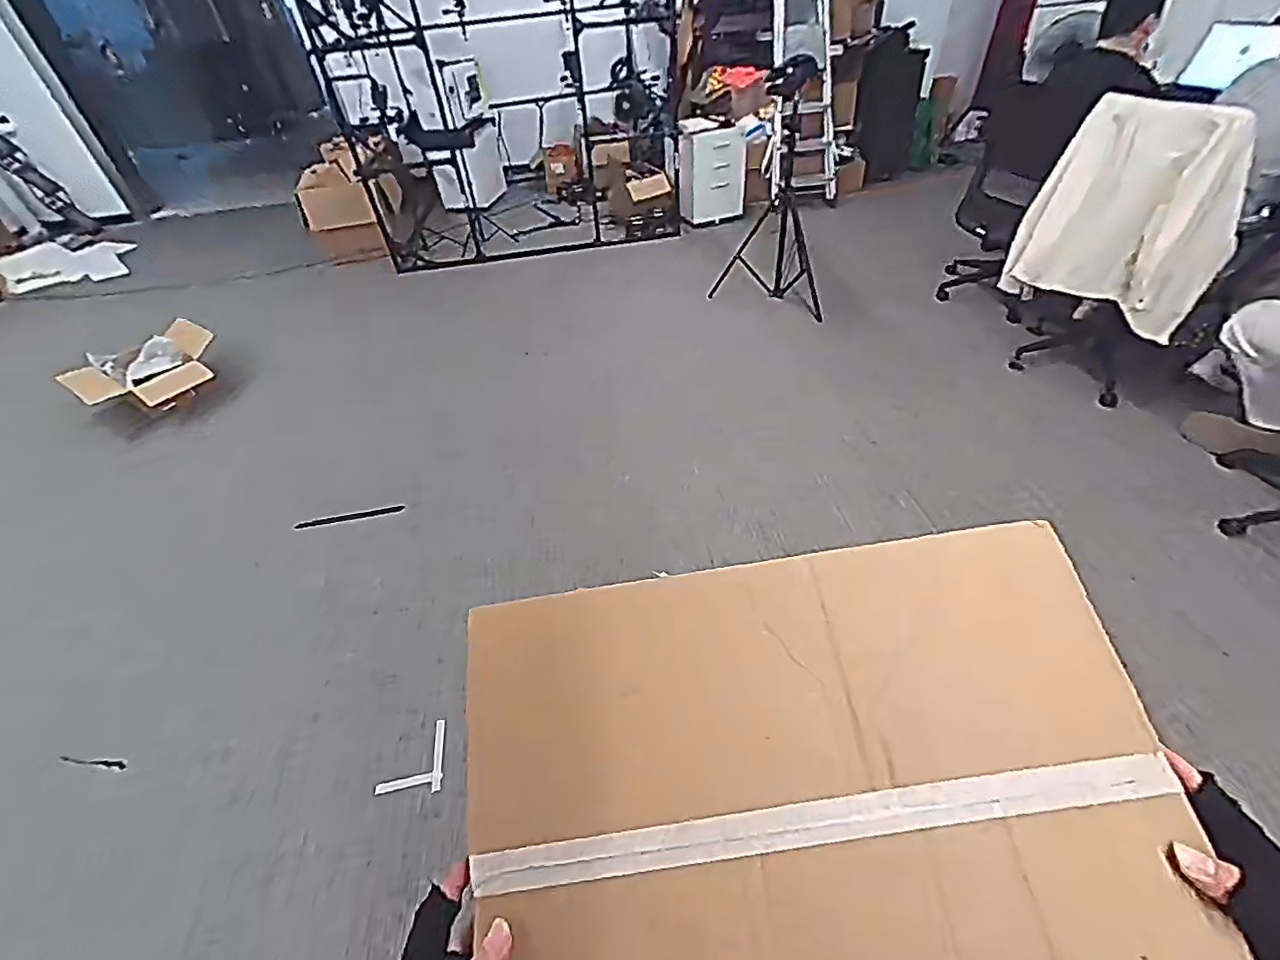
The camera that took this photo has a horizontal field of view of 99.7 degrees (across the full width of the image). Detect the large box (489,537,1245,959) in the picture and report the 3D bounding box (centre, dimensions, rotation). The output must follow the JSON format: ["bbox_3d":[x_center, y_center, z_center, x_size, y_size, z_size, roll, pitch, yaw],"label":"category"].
[{"bbox_3d":[0.120,0.273,0.455,0.408,0.320,0.320,-9,66,1],"label":"large box"}]
